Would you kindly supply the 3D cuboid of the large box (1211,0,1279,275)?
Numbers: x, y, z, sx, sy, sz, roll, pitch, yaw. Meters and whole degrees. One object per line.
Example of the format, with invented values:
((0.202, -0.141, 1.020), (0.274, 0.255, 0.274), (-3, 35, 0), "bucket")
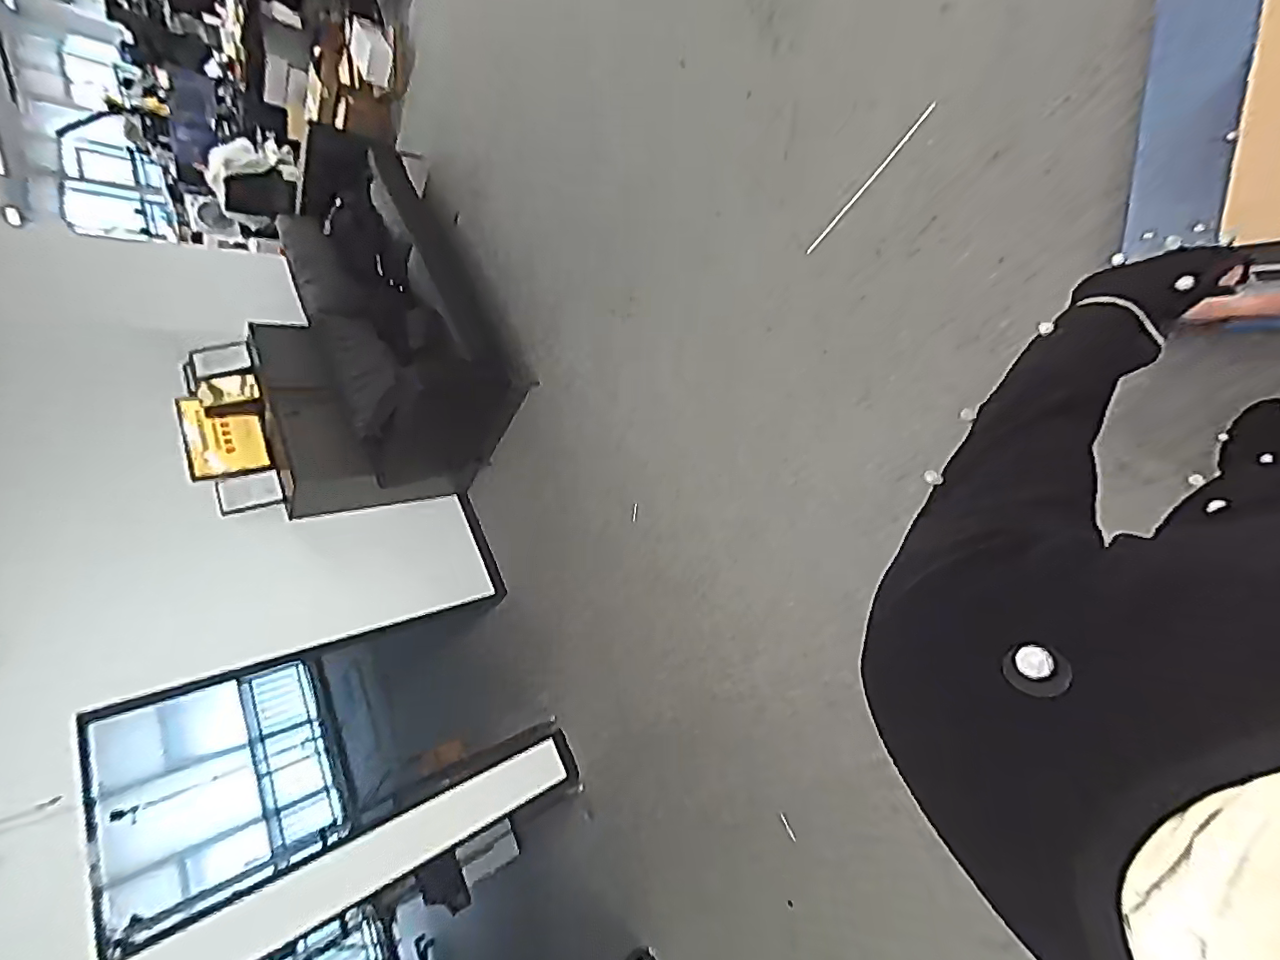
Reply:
((1.066, -0.540, 0.762), (0.320, 0.320, 0.408), (11, 104, 45), "large box")
